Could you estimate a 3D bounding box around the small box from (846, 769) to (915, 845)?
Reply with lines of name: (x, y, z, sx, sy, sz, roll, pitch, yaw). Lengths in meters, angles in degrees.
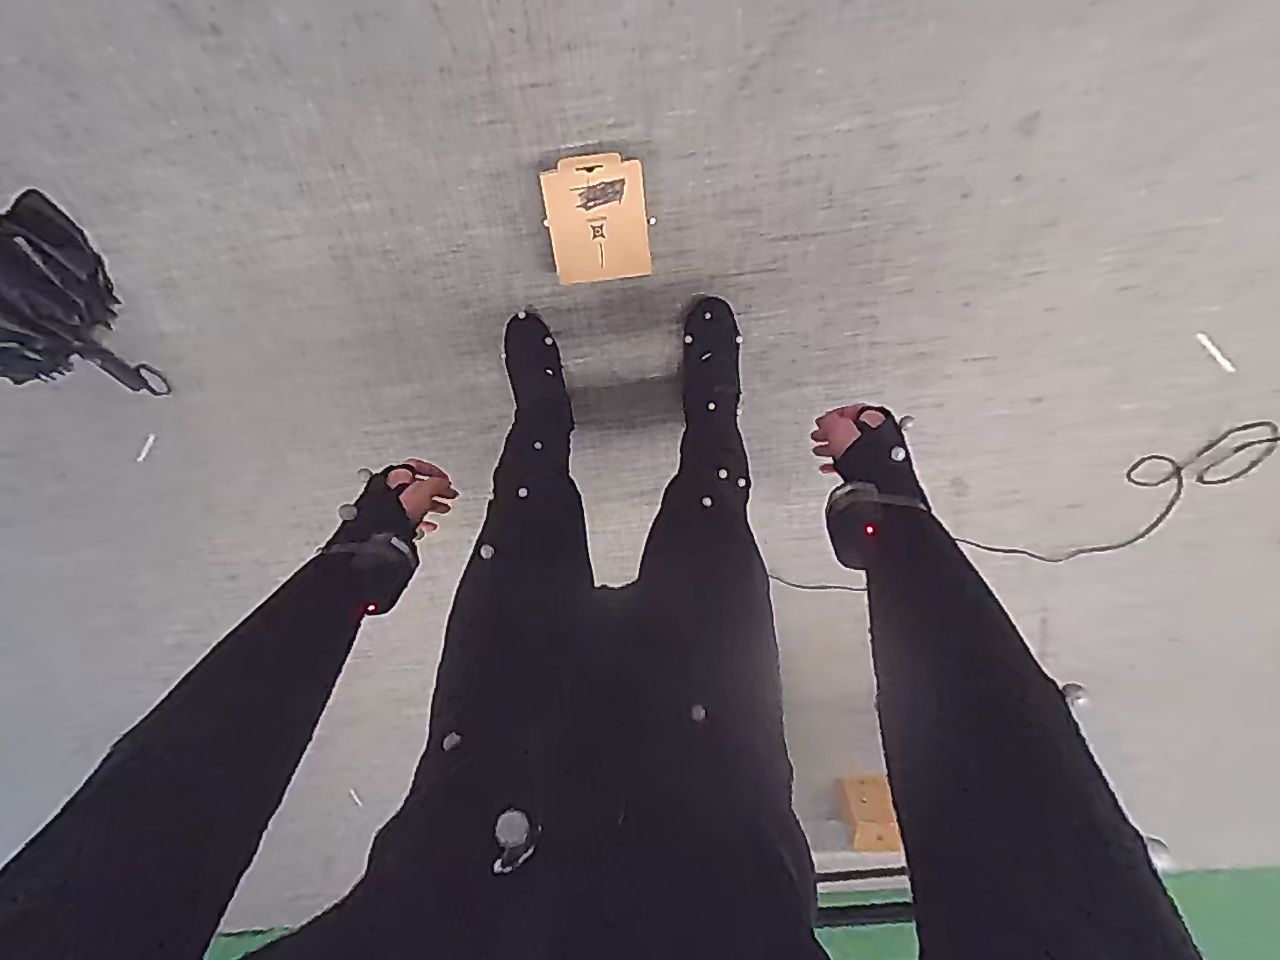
small box: (0.809, 1.108, 1.838, 0.168, 0.176, 0.179, -4, 121, 6)

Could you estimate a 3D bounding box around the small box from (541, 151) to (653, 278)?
small box: (-0.068, -0.474, 0.967, 0.168, 0.176, 0.179, -5, 120, 5)
